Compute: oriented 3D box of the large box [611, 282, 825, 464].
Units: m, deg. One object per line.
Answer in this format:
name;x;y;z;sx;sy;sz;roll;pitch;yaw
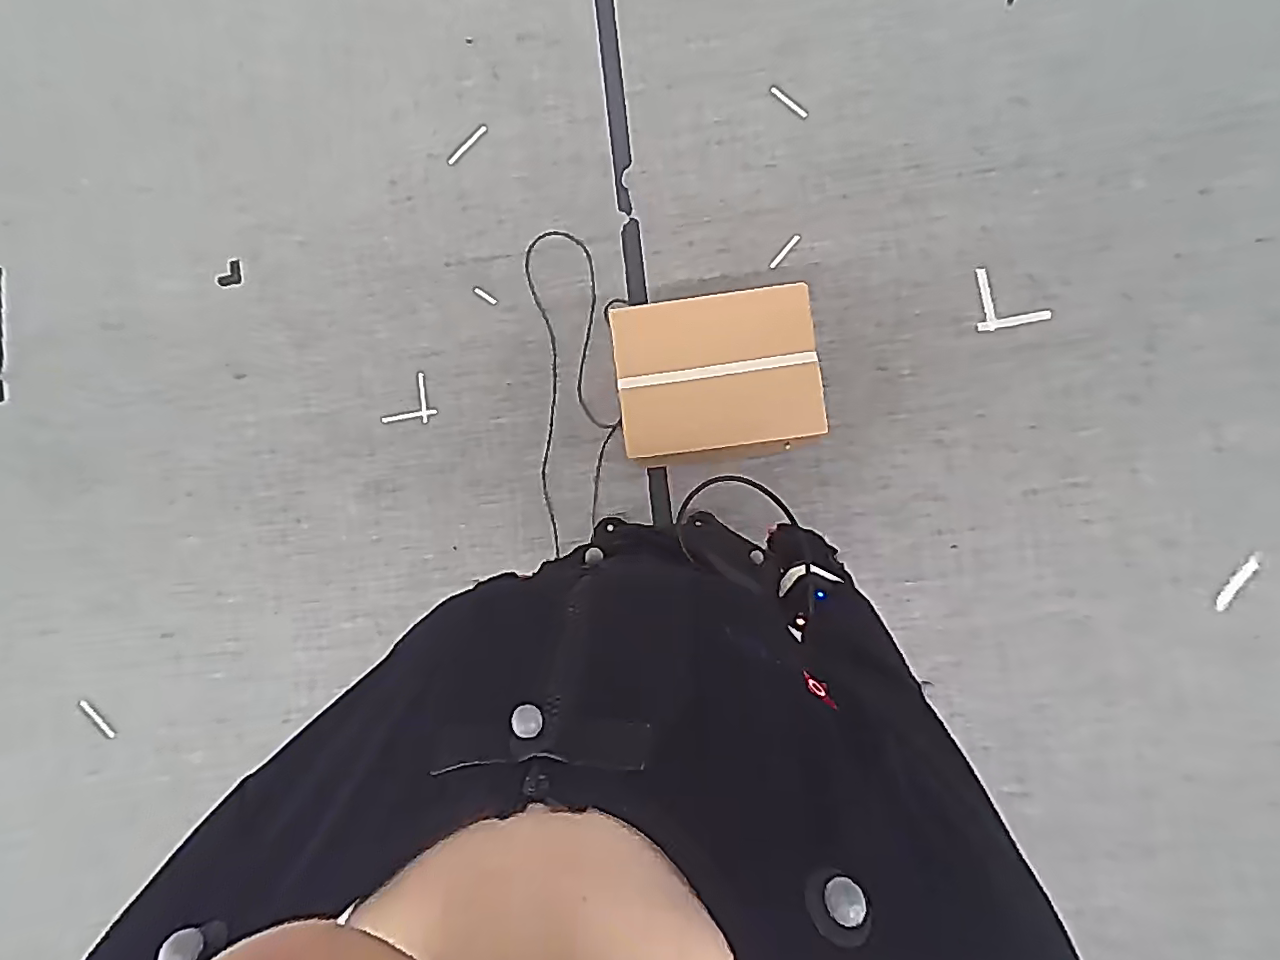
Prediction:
large box;0.166;-0.218;1.244;0.408;0.320;0.320;-7;87;3
